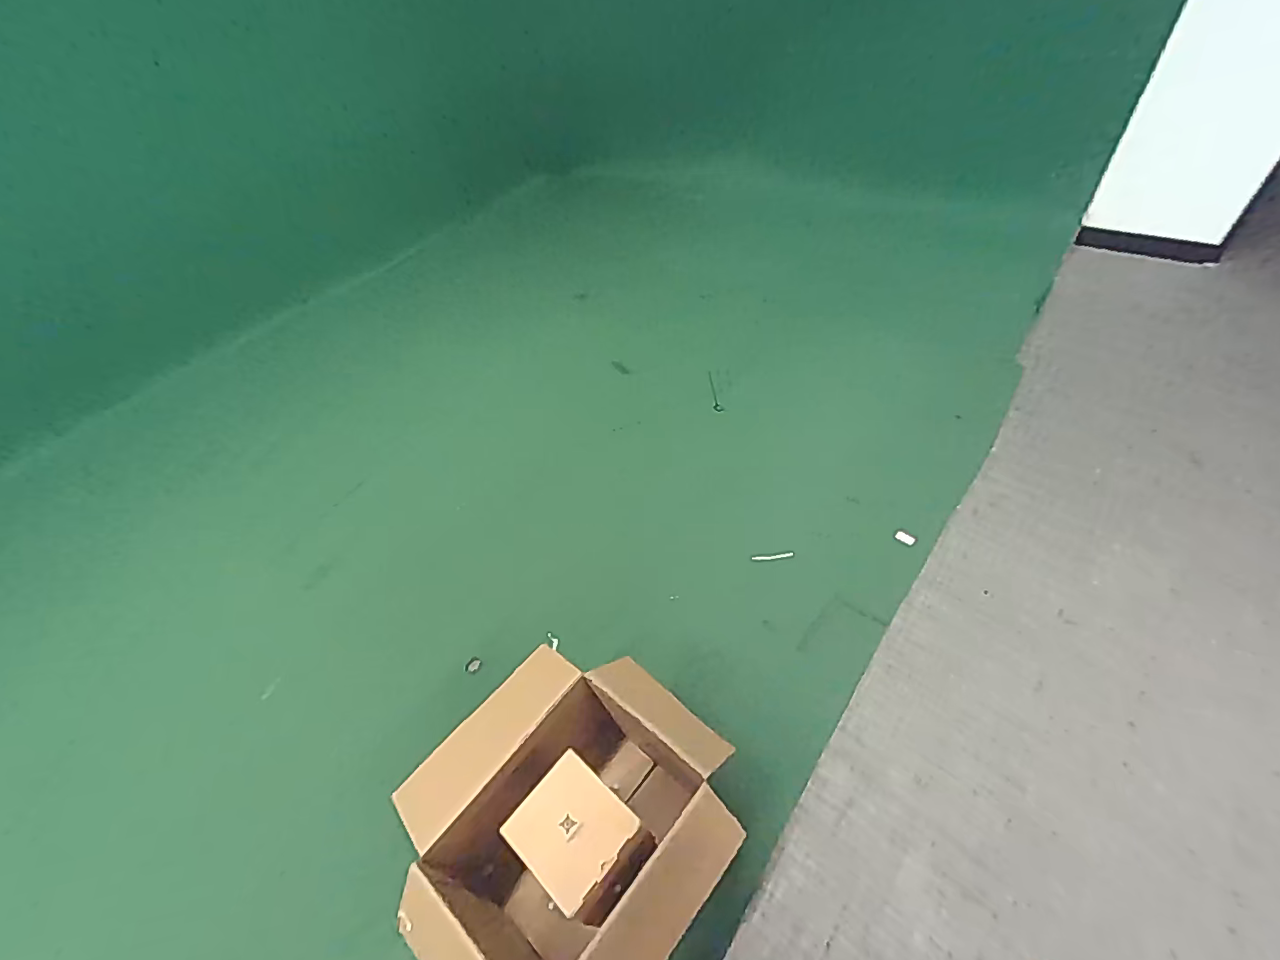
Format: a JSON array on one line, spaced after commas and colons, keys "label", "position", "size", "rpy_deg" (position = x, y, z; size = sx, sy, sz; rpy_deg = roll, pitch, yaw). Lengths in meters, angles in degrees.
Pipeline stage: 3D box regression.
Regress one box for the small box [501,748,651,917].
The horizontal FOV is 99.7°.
[{"label": "small box", "position": [-0.102, 0.608, 0.928], "size": [0.179, 0.176, 0.168], "rpy_deg": [30, 60, 31]}]
